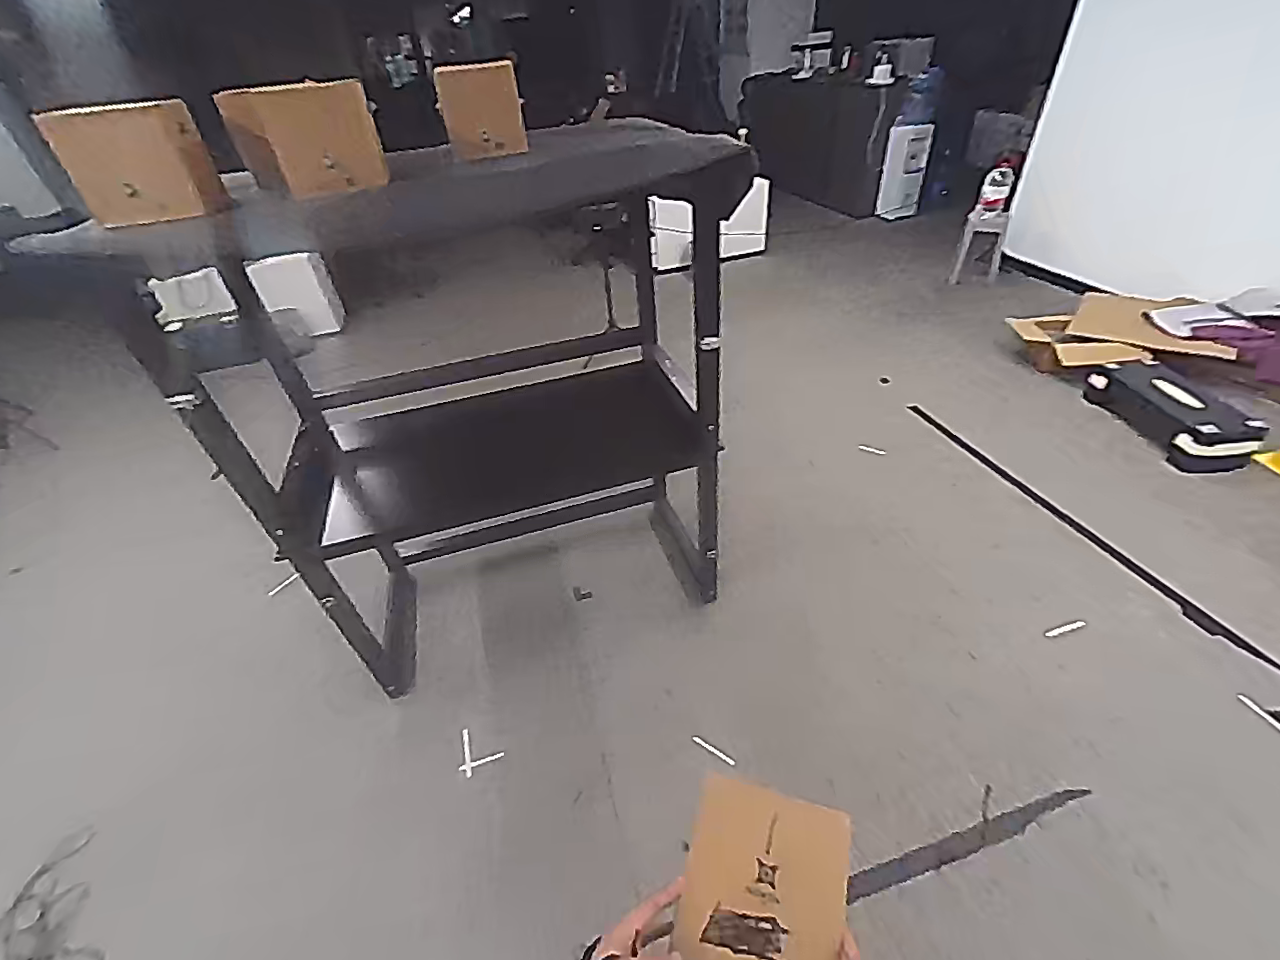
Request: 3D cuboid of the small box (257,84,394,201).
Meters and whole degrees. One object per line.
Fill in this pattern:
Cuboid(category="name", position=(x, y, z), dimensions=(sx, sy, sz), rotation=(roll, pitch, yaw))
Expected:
Cuboid(category="small box", position=(-0.584, -0.644, 1.032), dimensions=(0.168, 0.176, 0.179), rotation=(-15, 40, -11))

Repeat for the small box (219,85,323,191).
Cuboid(category="small box", position=(-0.755, -0.744, 1.173), dimensions=(0.179, 0.176, 0.168), rotation=(-16, 41, -13))

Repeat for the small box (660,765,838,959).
Cuboid(category="small box", position=(0.126, 0.464, 0.641), dimensions=(0.168, 0.176, 0.179), rotation=(11, 57, 11))

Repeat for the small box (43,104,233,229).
Cuboid(category="small box", position=(-0.871, -0.560, 0.966), dimensions=(0.168, 0.176, 0.179), rotation=(-16, 40, -13))
